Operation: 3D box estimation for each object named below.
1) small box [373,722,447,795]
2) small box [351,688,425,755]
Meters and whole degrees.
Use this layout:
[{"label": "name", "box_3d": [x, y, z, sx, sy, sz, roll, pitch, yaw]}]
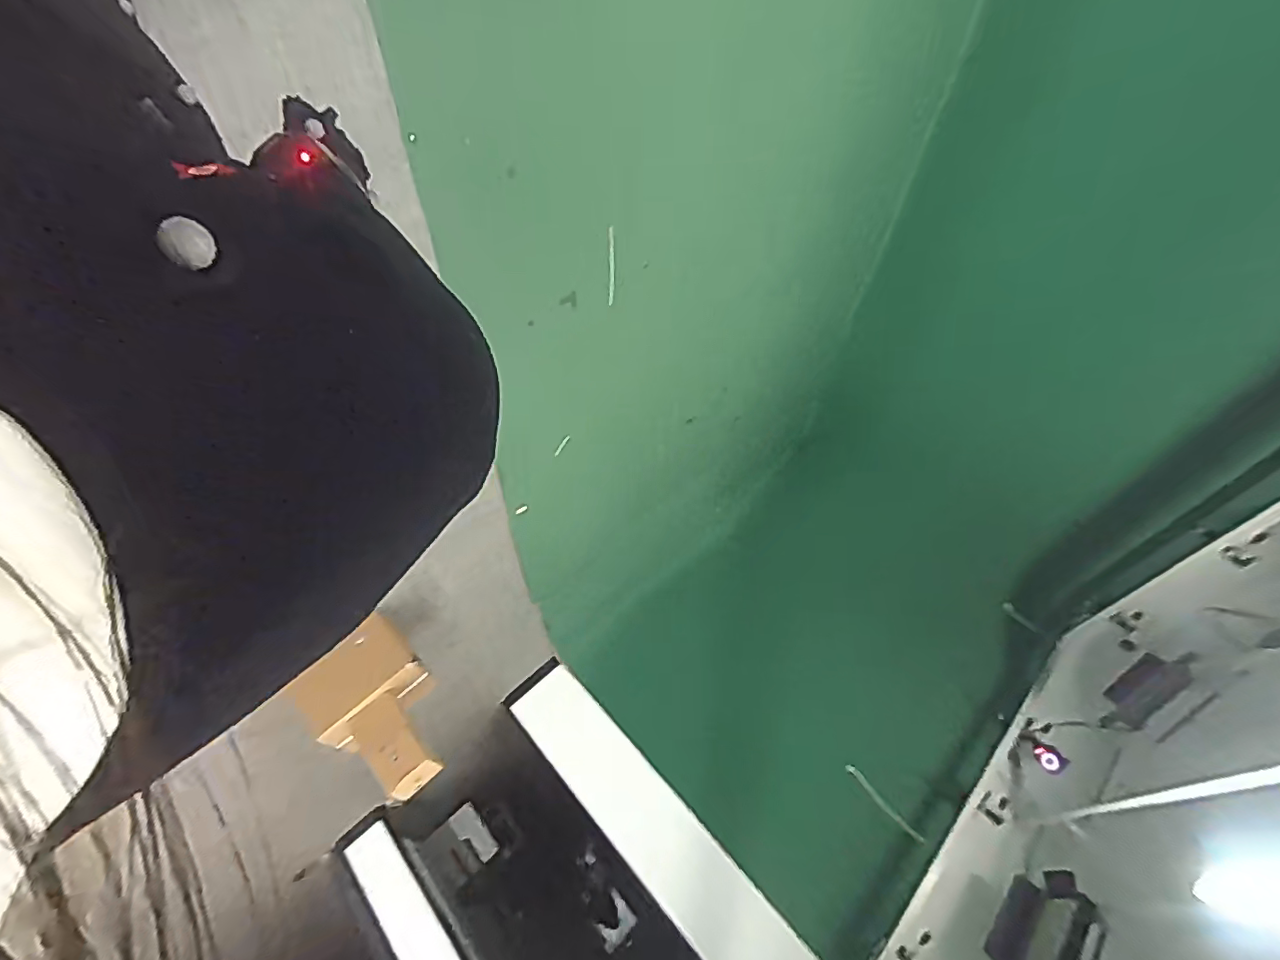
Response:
[{"label": "small box", "box_3d": [-0.866, 1.041, 2.029, 0.168, 0.176, 0.179, -39, 150, -23]}, {"label": "small box", "box_3d": [-0.978, 0.945, 2.098, 0.179, 0.176, 0.168, -37, 150, -22]}]
